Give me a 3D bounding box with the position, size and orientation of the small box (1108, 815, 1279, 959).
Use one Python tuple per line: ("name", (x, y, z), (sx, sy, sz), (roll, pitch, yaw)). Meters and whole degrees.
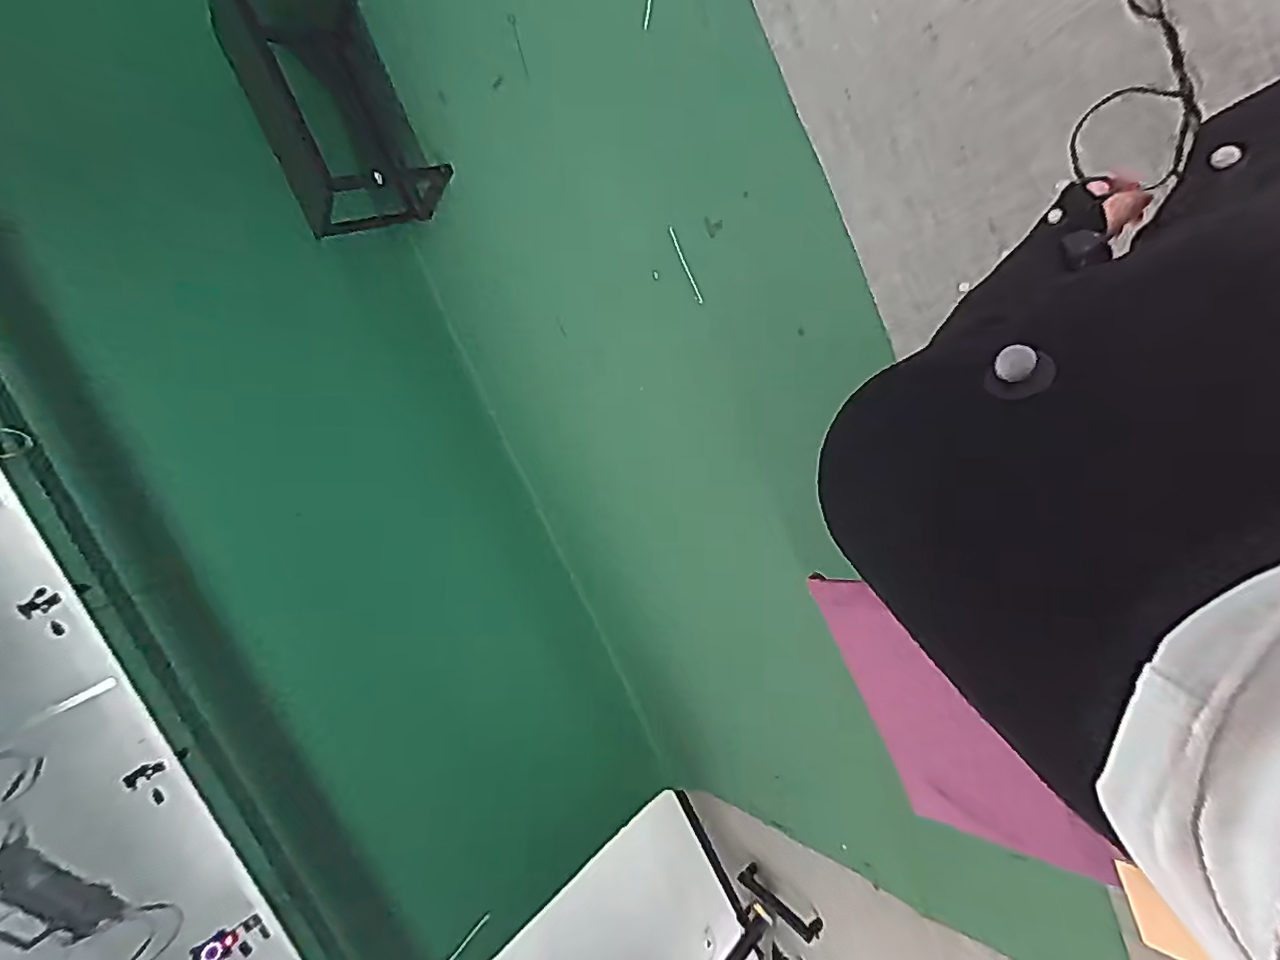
("small box", (0.868, 0.625, 0.830), (0.168, 0.176, 0.179), (-12, 103, 57))
